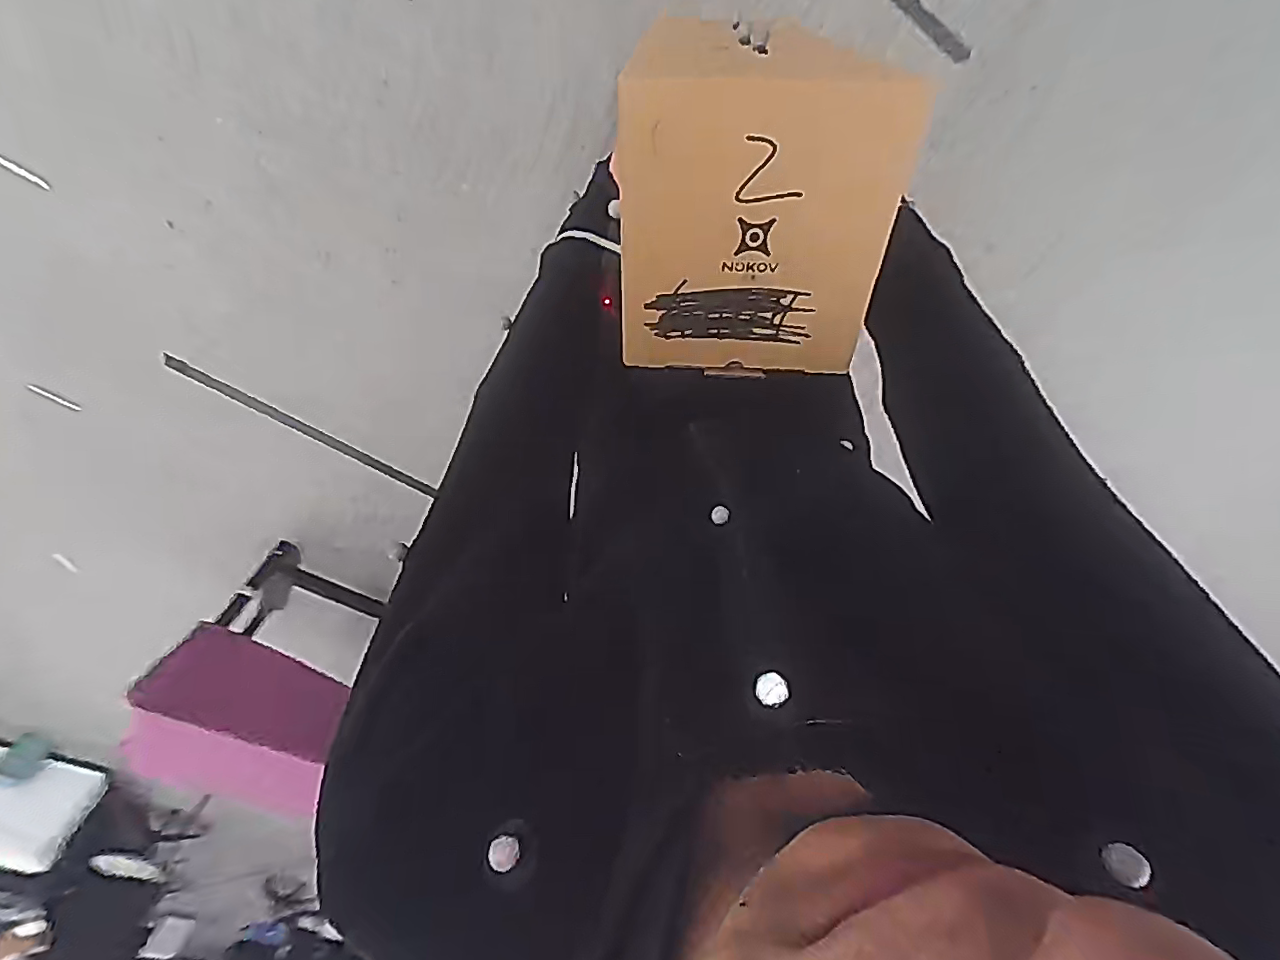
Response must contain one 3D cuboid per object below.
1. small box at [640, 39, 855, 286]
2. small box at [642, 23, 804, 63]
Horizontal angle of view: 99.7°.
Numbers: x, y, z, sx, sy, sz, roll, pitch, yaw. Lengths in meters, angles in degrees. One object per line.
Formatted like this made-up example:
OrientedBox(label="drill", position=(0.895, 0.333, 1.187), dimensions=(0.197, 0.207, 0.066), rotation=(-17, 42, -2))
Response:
OrientedBox(label="small box", position=(0.085, -0.305, 0.517), dimensions=(0.168, 0.176, 0.179), rotation=(0, 134, 4))
OrientedBox(label="small box", position=(0.090, -0.417, 0.638), dimensions=(0.168, 0.176, 0.179), rotation=(0, 133, 4))
